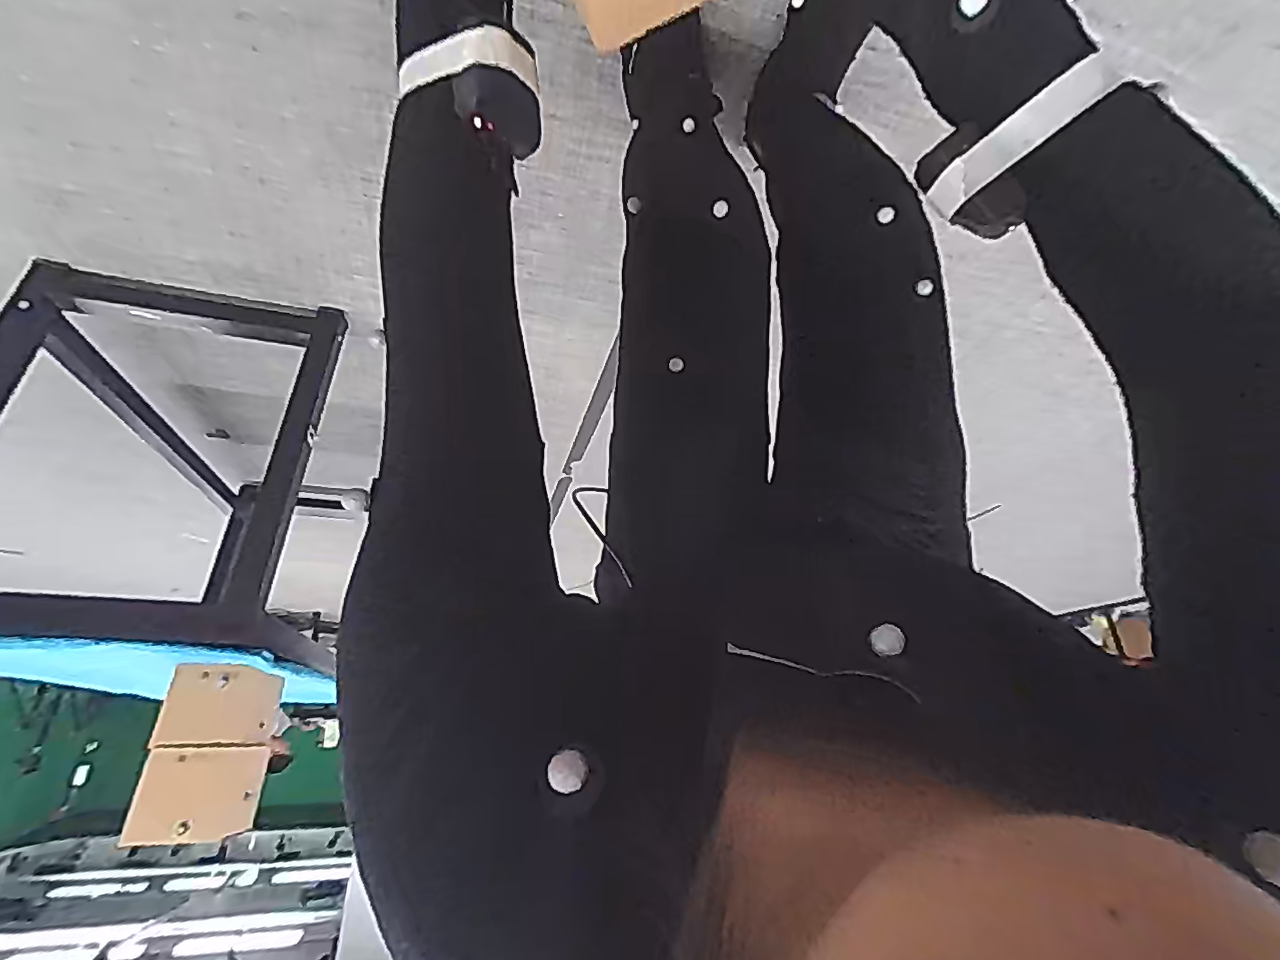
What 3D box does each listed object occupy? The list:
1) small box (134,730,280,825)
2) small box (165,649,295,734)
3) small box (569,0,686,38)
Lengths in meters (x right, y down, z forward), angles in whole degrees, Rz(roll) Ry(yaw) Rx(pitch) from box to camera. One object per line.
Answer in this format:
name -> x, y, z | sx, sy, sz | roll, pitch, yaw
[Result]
small box -> -0.913, 0.632, 1.165 | 0.168, 0.176, 0.179 | 5, 154, -10
small box -> -0.922, 0.487, 1.238 | 0.168, 0.176, 0.179 | 6, 155, -13
small box -> 0.000, -0.419, 0.308 | 0.168, 0.176, 0.179 | -18, 156, 5
